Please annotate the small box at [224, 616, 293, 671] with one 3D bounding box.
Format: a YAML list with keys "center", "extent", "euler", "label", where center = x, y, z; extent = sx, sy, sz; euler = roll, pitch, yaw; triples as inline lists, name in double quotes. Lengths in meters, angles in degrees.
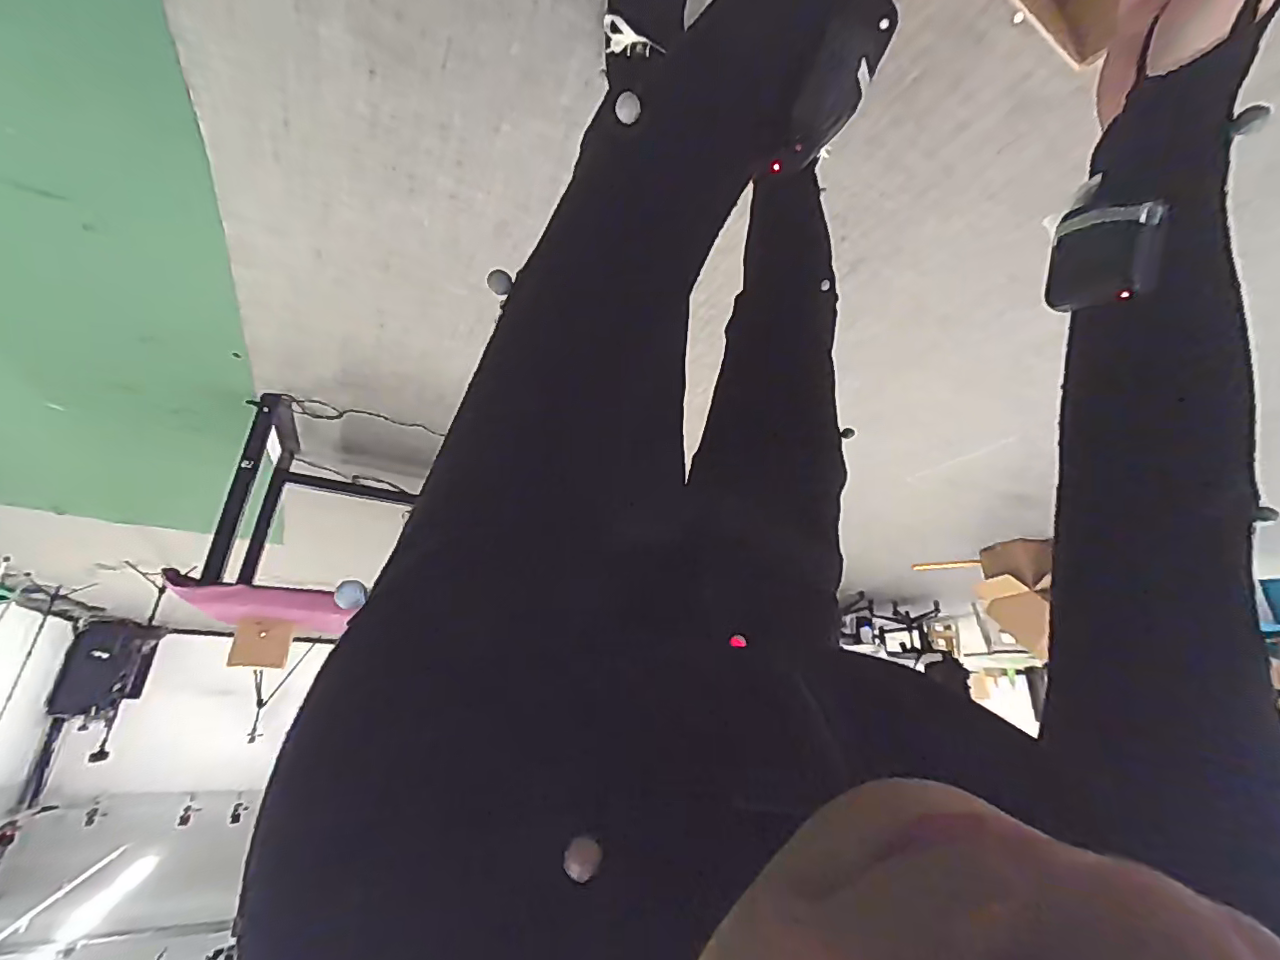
- center: [-1.375, 0.595, 1.959]
  extent: [0.168, 0.176, 0.179]
  euler: [13, 155, -27]
  label: "small box"
